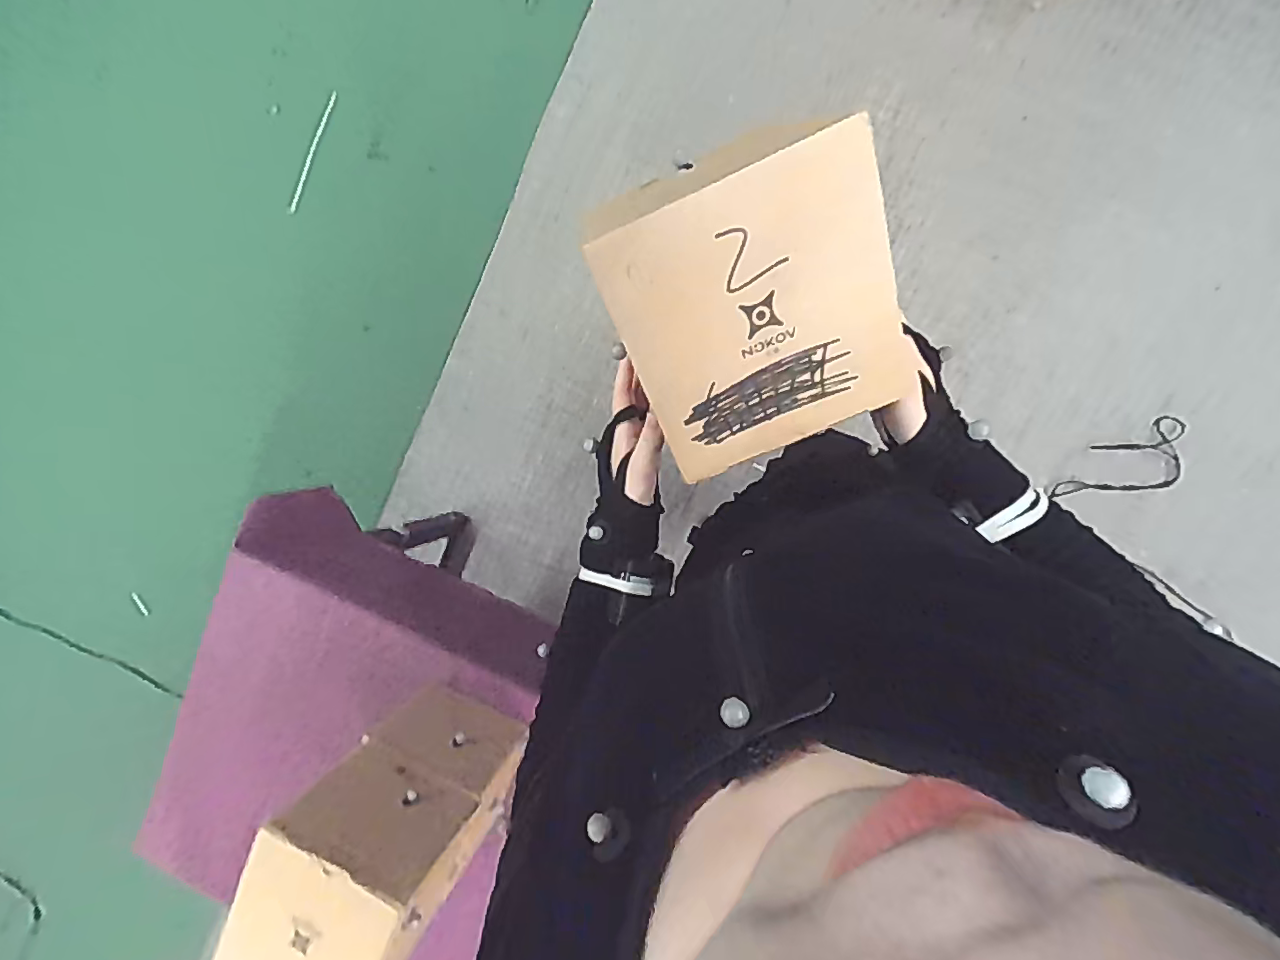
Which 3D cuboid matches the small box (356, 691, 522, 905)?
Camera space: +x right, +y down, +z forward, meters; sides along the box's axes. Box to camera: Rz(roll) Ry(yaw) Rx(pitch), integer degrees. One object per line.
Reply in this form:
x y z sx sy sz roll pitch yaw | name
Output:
-0.292 0.430 0.765 0.179 0.176 0.168 22 96 7 | small box

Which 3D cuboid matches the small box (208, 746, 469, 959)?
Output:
-0.320 0.446 0.605 0.168 0.176 0.179 24 96 8 | small box
